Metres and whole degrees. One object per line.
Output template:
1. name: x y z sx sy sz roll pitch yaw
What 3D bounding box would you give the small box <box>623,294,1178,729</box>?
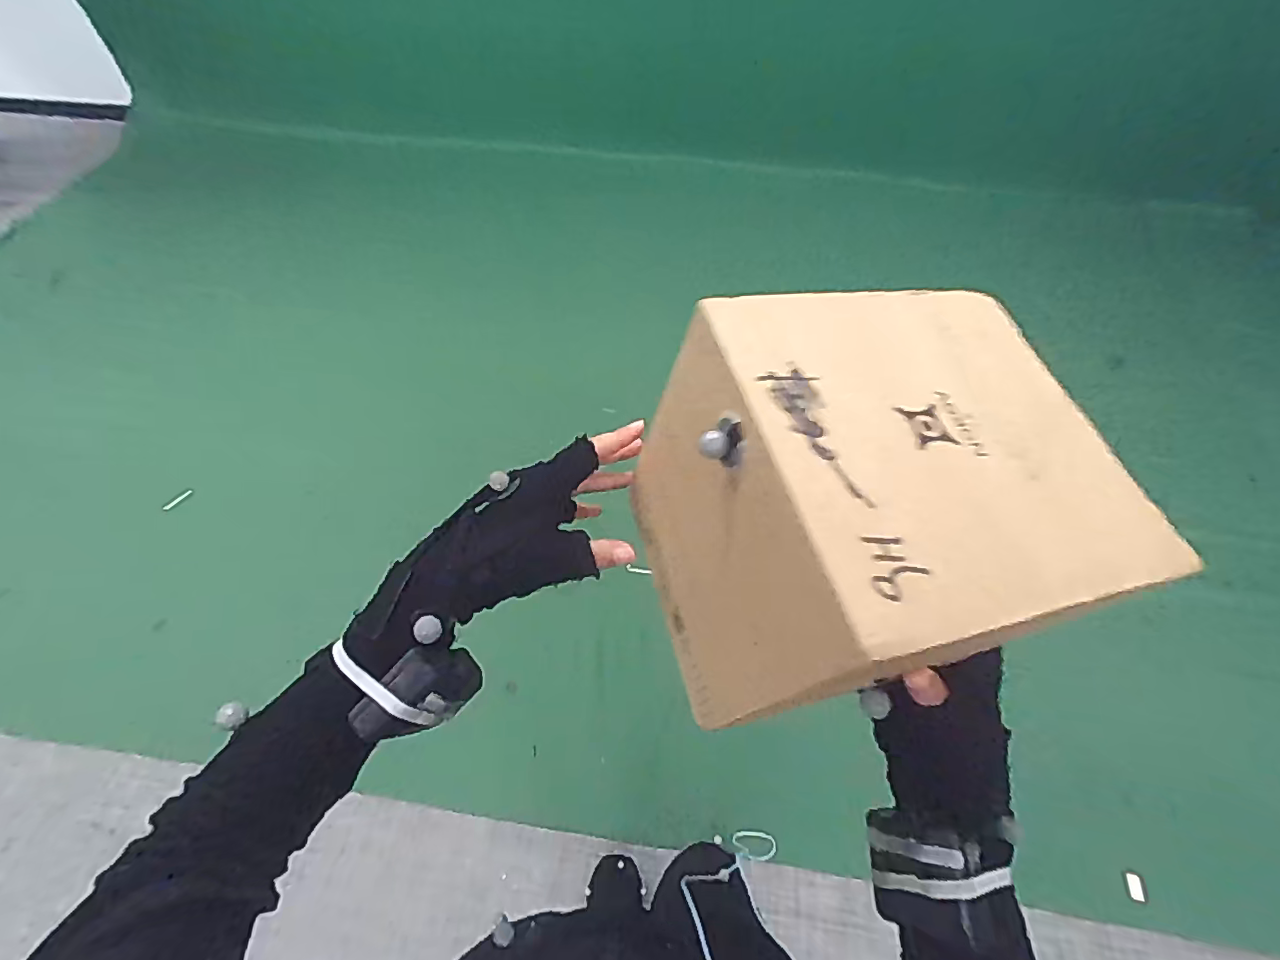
1. small box: 0.106 0.021 0.299 0.179 0.176 0.168 -7 60 -20
